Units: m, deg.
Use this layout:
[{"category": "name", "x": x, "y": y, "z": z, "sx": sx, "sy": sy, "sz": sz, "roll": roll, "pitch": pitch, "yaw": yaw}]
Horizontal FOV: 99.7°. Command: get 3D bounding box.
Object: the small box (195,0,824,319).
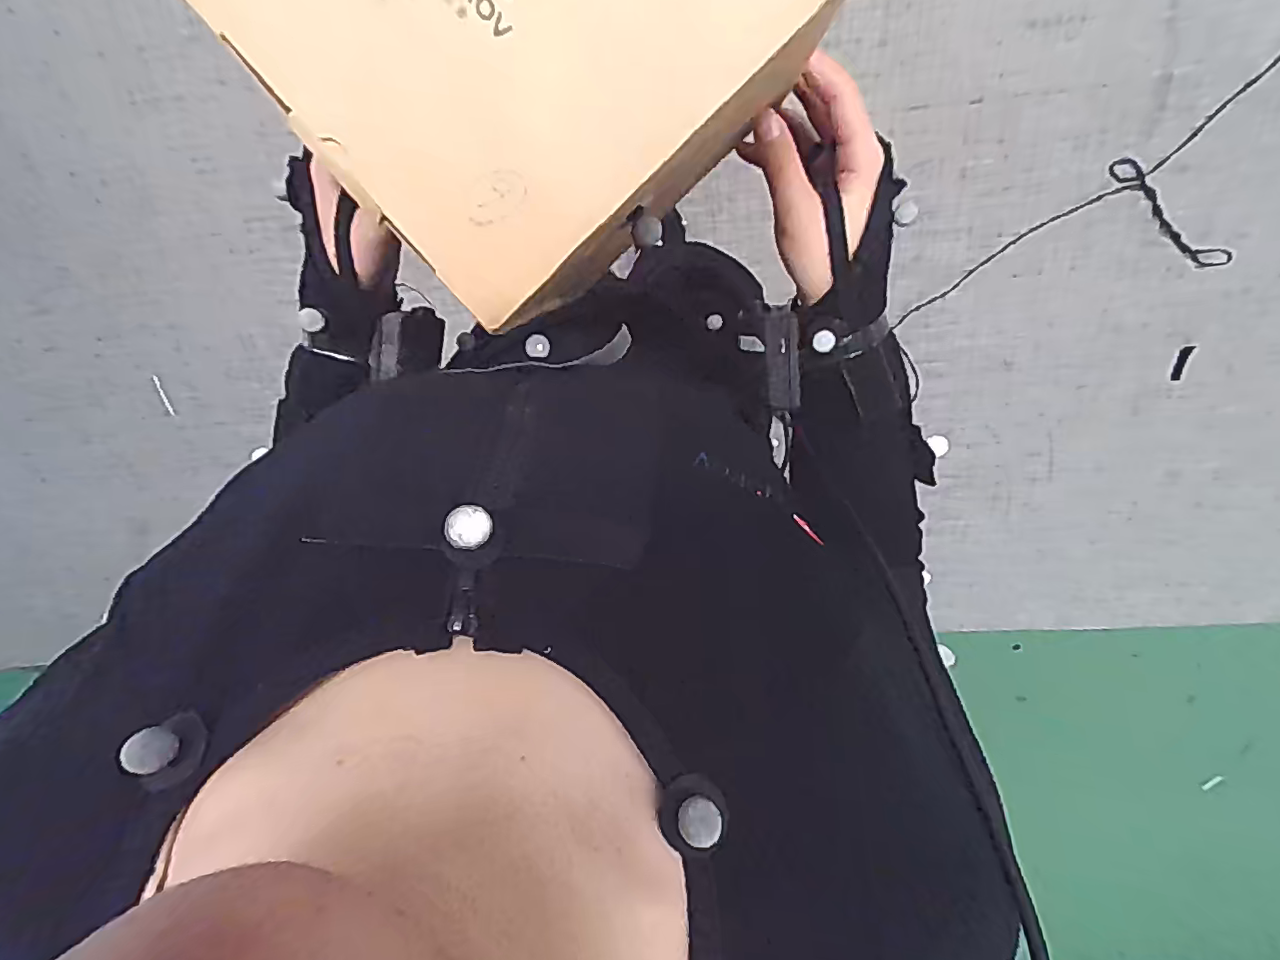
[{"category": "small box", "x": -0.040, "y": -0.201, "z": 0.248, "sx": 0.179, "sy": 0.176, "sz": 0.168, "roll": -37, "pitch": 104, "yaw": 19}]
